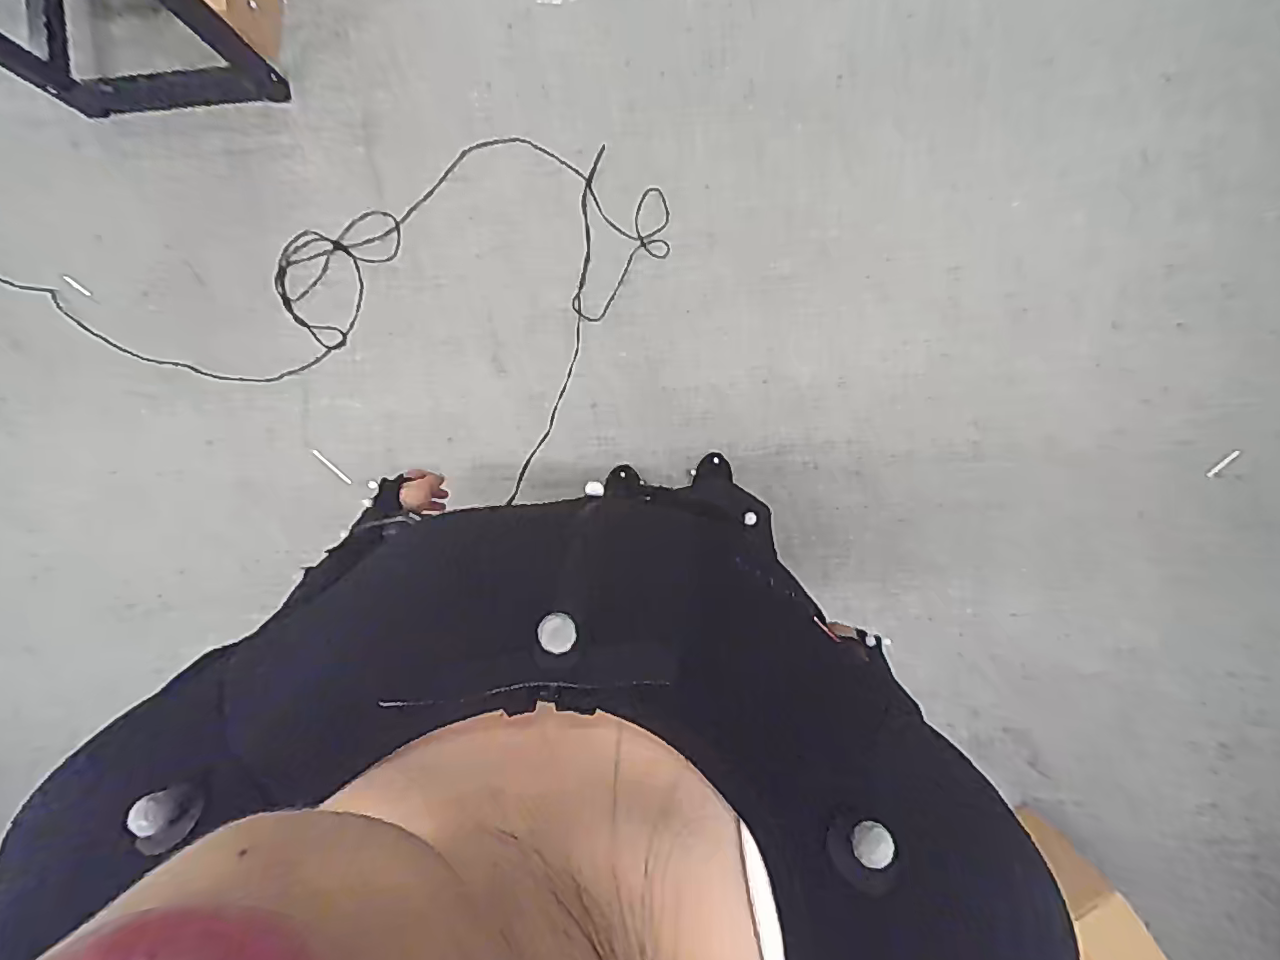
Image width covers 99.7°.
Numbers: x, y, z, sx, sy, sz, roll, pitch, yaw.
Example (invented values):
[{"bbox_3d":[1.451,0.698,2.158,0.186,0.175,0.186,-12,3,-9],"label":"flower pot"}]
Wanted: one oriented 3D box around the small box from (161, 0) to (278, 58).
[{"bbox_3d":[-1.064,-1.230,1.381,0.168,0.176,0.179,9,94,1],"label":"small box"}]
